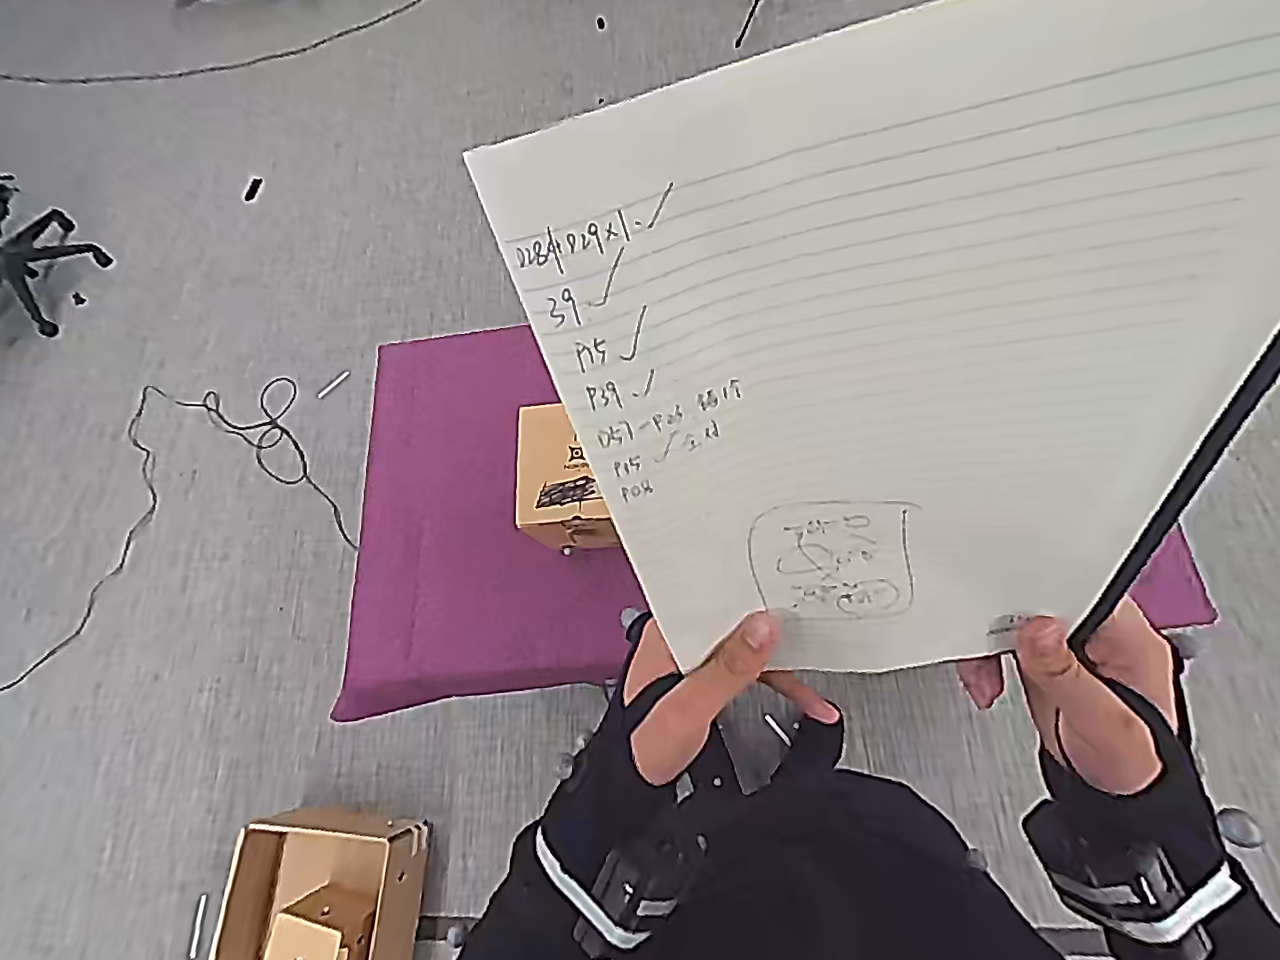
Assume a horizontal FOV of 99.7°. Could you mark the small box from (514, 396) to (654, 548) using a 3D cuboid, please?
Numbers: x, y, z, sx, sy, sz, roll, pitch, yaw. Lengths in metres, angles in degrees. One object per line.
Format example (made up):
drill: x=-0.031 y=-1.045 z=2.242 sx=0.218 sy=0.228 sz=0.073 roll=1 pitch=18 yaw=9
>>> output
small box: x=-0.073 y=0.000 z=0.790 sx=0.168 sy=0.176 sz=0.179 roll=-5 pitch=70 yaw=7

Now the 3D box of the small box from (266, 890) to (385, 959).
small box: x=-0.729 y=1.092 z=1.252 sx=0.179 sy=0.176 sz=0.168 roll=8 pitch=73 yaw=11
